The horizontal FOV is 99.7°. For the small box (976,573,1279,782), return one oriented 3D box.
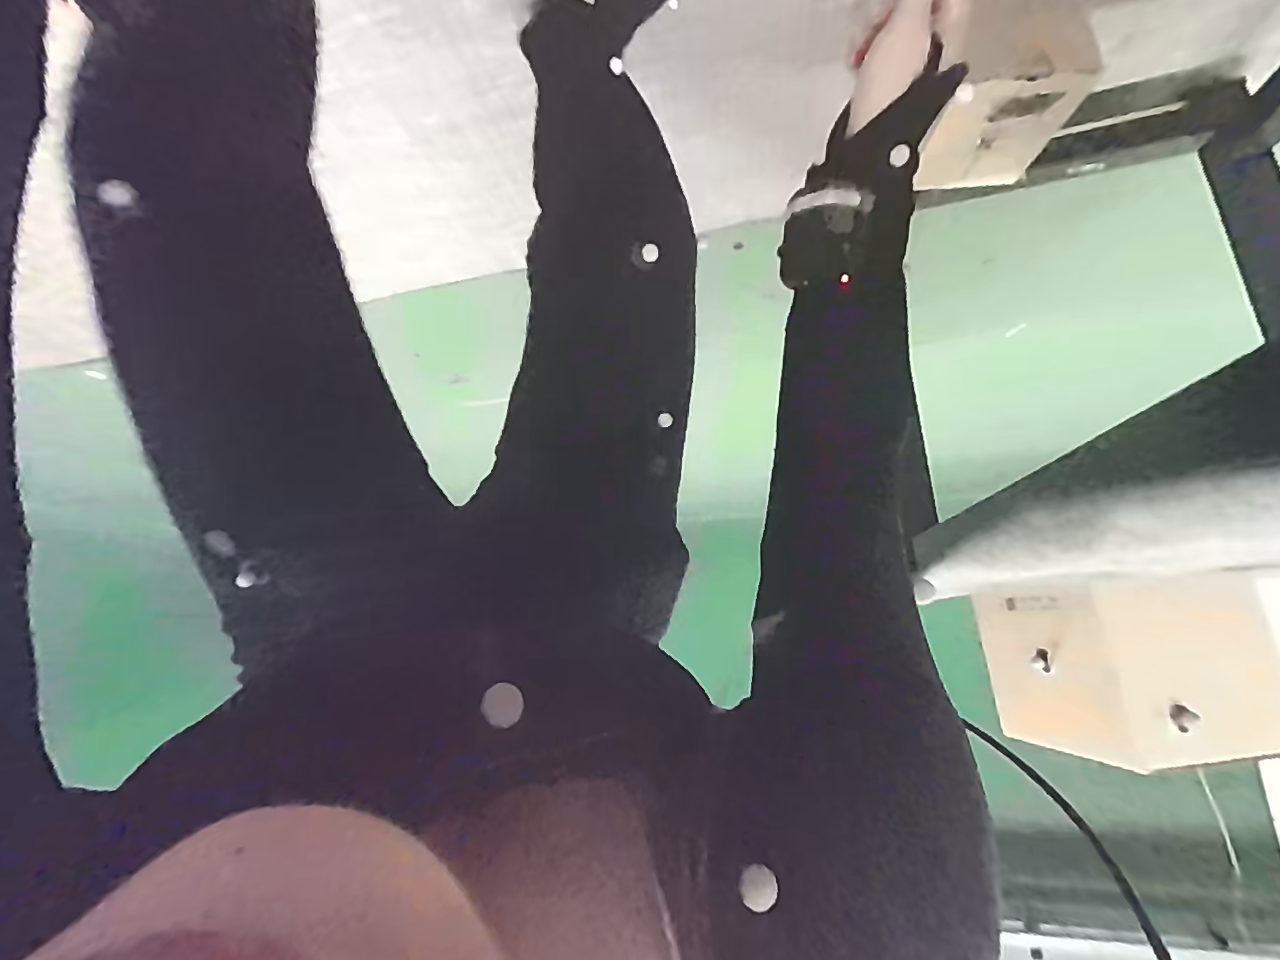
[{"bbox_3d":[0.494,0.194,0.564,0.179,0.176,0.168,-3,166,-7],"label":"small box"}]

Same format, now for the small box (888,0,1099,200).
[{"bbox_3d":[0.456,-0.517,0.733,0.168,0.176,0.179,-2,167,1],"label":"small box"}]
